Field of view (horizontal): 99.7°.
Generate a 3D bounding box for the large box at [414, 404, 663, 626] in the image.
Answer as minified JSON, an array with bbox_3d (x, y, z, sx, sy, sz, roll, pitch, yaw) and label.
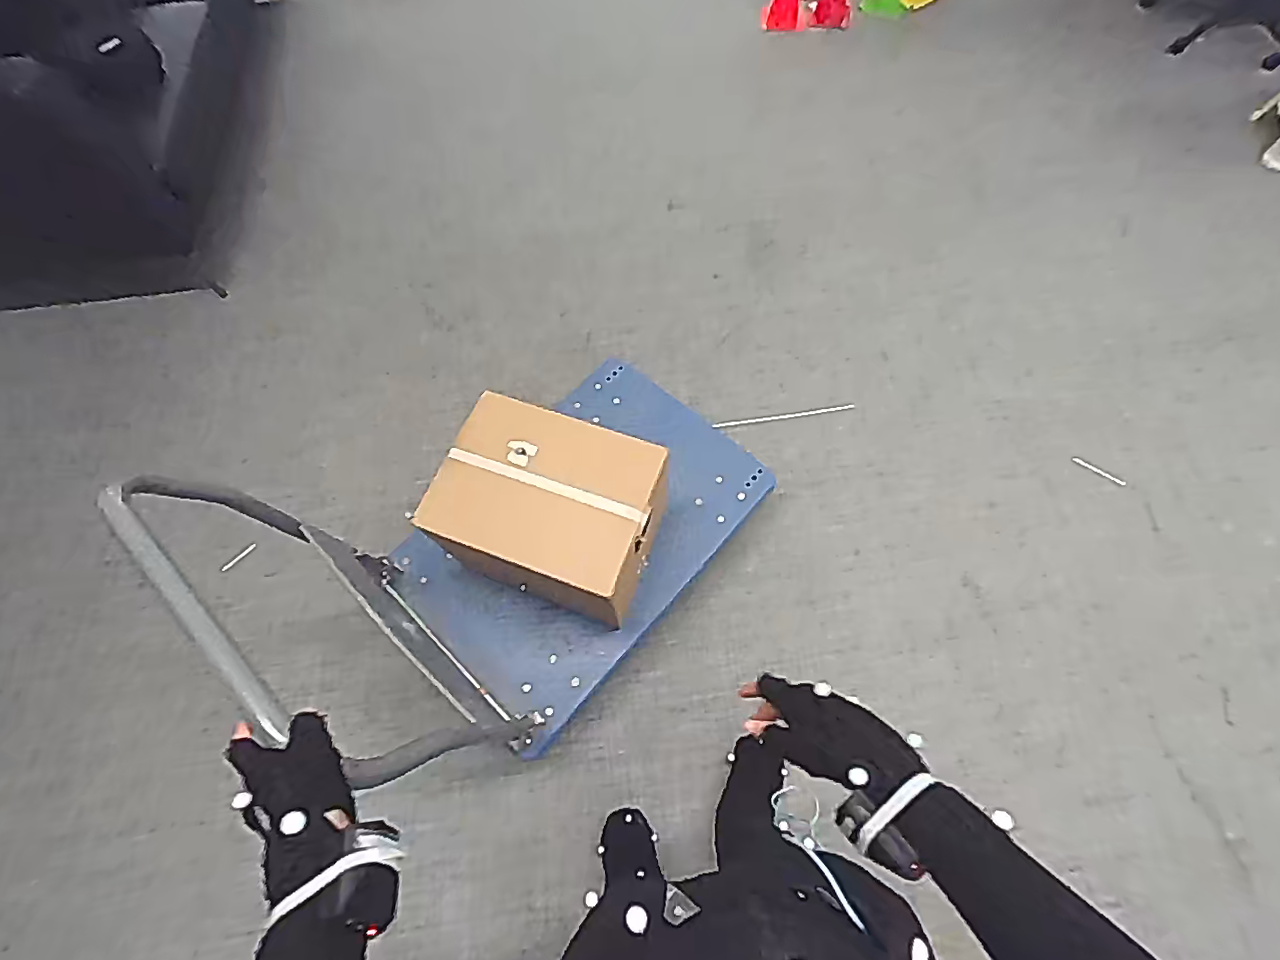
[{"bbox_3d":[-0.183,0.088,1.172,0.408,0.320,0.320,18,67,11],"label":"large box"}]
